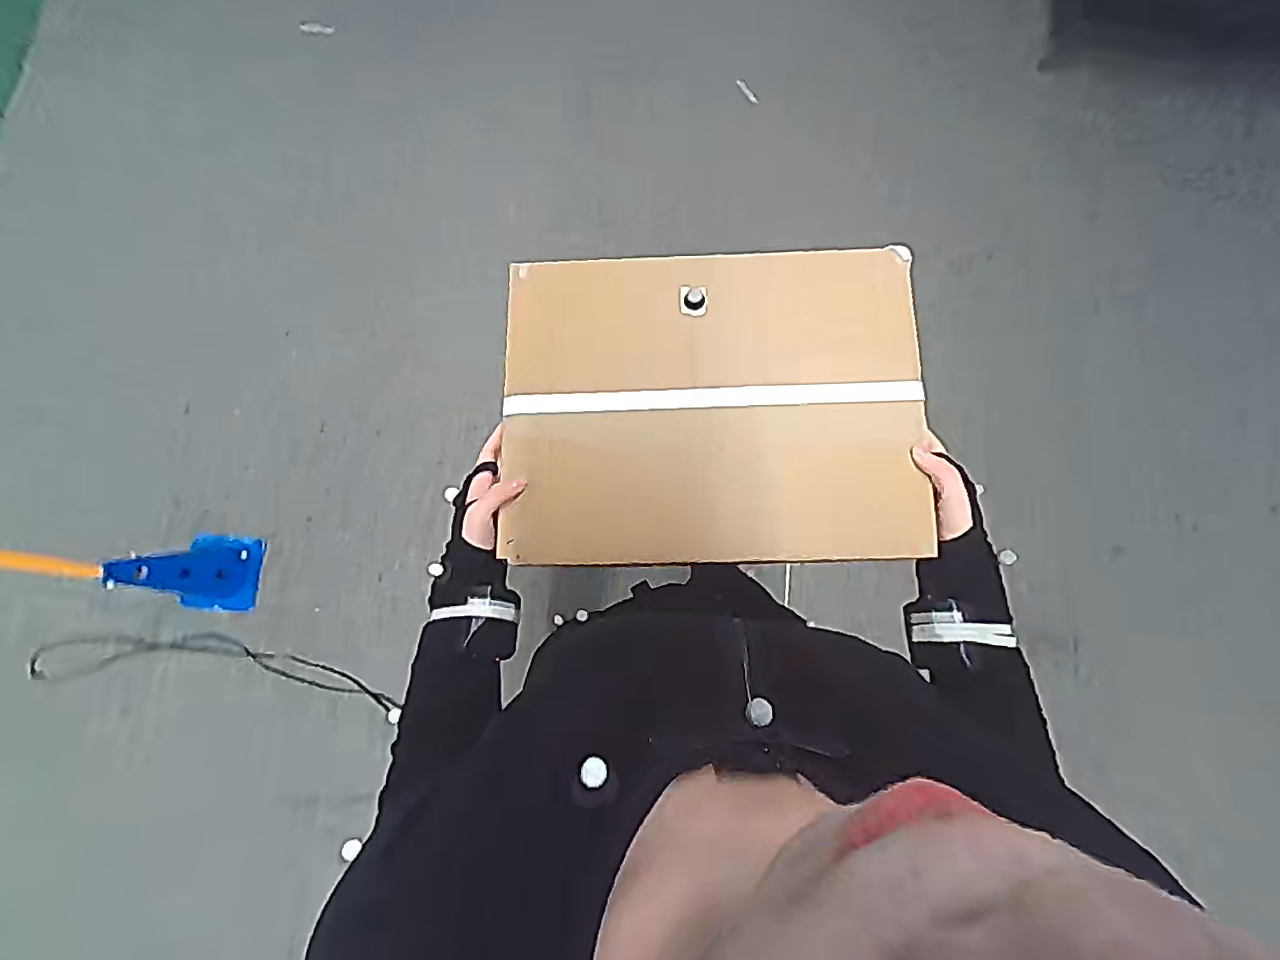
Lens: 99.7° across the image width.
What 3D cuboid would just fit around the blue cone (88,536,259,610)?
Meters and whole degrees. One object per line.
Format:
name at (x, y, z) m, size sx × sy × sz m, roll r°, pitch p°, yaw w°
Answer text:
blue cone at (-1.118, 0.214, 1.276) m, size 0.192 × 0.380 × 0.193 m, roll 4°, pitch 79°, yaw -2°
